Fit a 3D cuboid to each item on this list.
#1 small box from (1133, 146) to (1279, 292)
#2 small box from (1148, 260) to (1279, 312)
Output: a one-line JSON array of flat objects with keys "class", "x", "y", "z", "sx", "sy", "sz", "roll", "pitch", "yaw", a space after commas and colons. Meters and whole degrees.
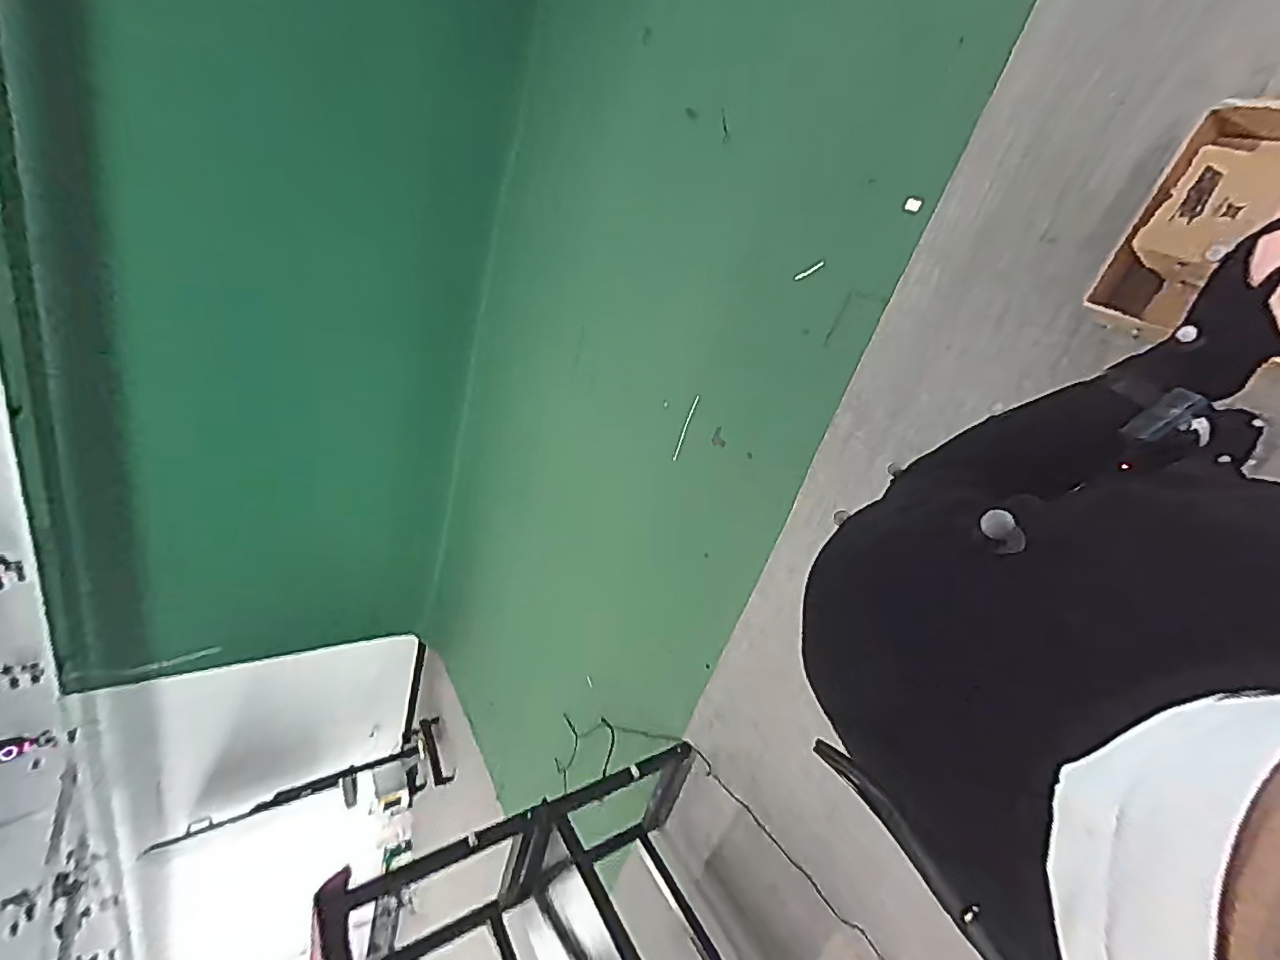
[{"class": "small box", "x": 1.016, "y": -0.440, "z": 0.927, "sx": 0.179, "sy": 0.176, "sz": 0.168, "roll": 48, "pitch": 126, "yaw": 39}, {"class": "small box", "x": 1.143, "y": -0.444, "z": 1.031, "sx": 0.168, "sy": 0.176, "sz": 0.179, "roll": 54, "pitch": 129, "yaw": 34}]
